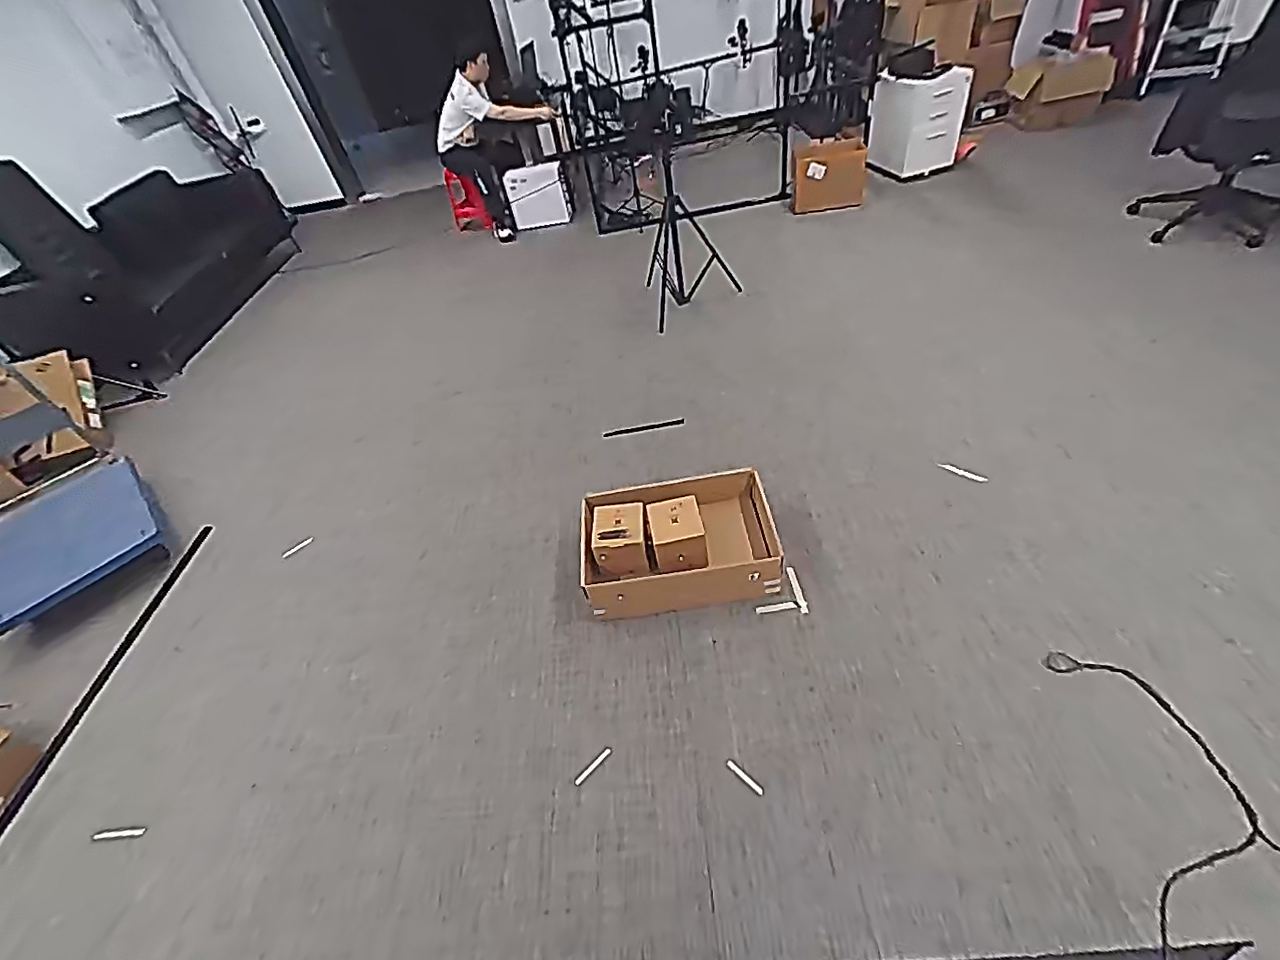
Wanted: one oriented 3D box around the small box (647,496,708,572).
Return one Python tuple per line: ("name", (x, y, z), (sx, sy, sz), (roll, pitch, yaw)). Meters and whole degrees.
("small box", (0.125, 0.185, 1.784), (0.168, 0.176, 0.179), (-12, 44, 1))
